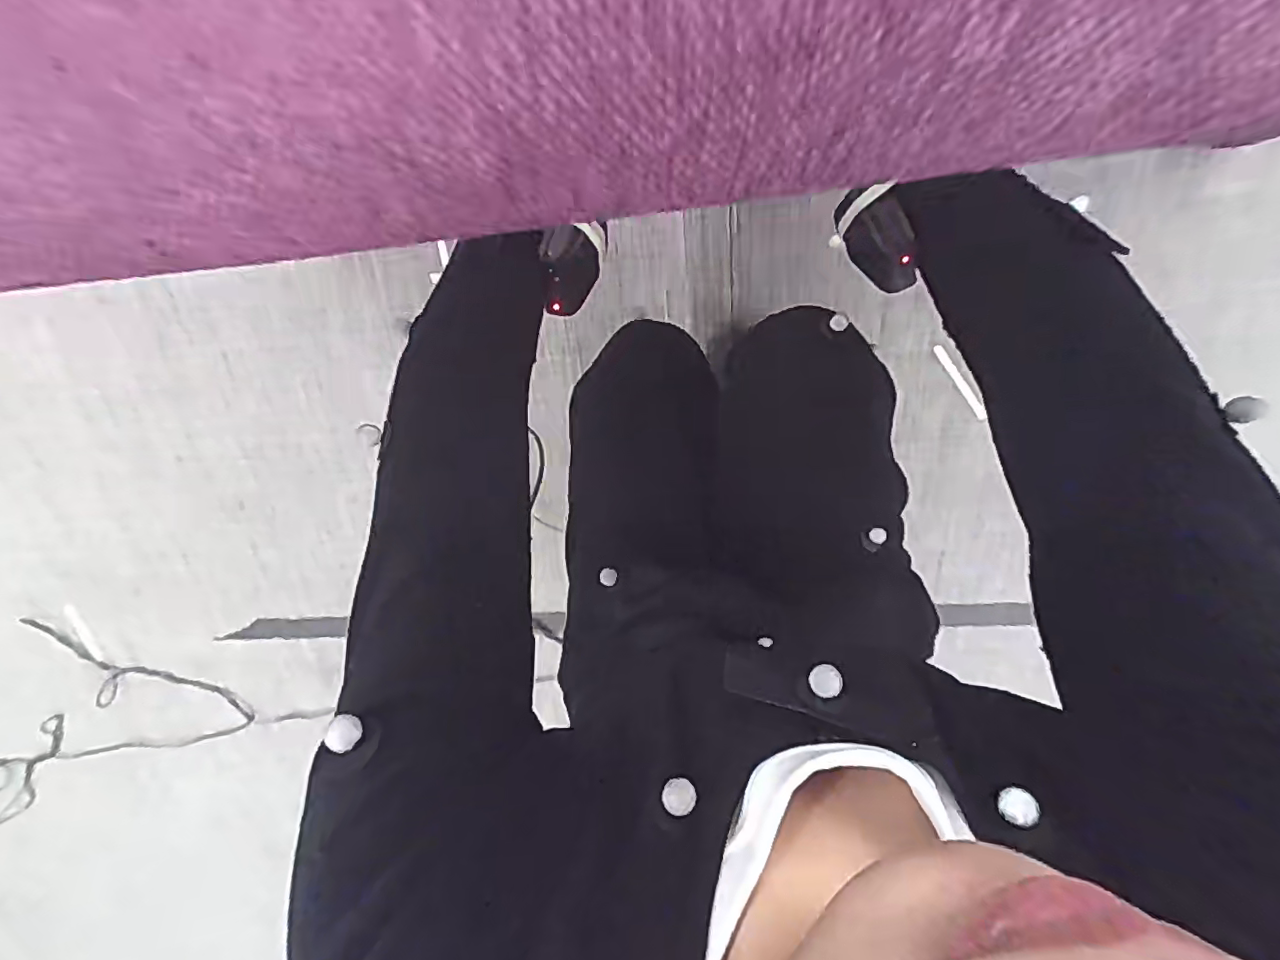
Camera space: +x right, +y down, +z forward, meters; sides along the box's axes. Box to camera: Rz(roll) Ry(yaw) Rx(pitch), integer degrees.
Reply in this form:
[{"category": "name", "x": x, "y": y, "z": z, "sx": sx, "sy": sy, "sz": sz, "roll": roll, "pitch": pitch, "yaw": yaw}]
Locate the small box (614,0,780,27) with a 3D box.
[{"category": "small box", "x": 0.046, "y": -0.495, "z": 0.422, "sx": 0.168, "sy": 0.176, "sz": 0.179, "roll": -2, "pitch": 116, "yaw": 5}]
